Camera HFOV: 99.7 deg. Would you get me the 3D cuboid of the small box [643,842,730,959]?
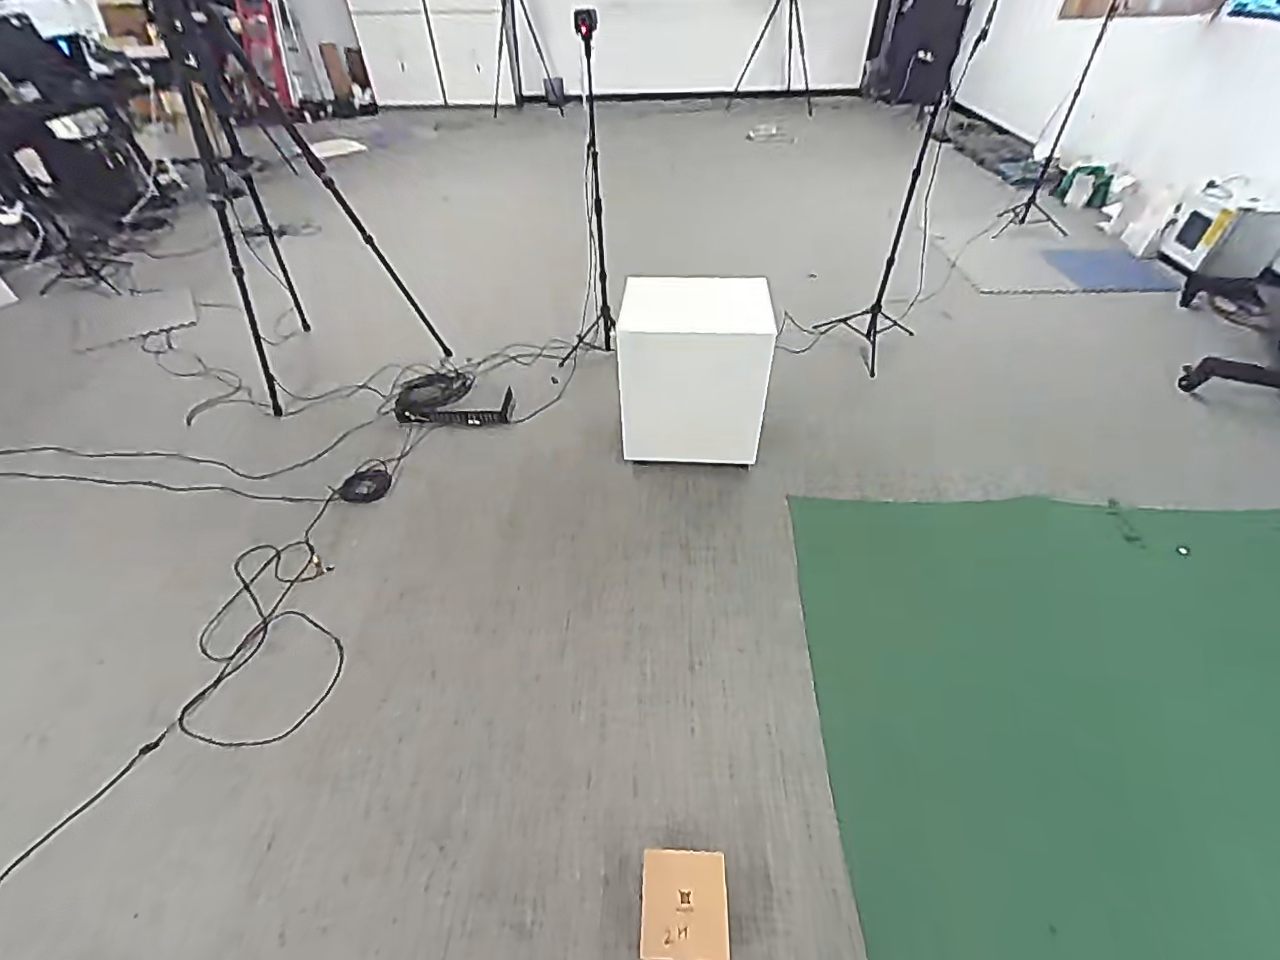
[{"bbox_3d":[0.093,0.871,1.113,0.168,0.176,0.179,1,45,4],"label":"small box"}]
